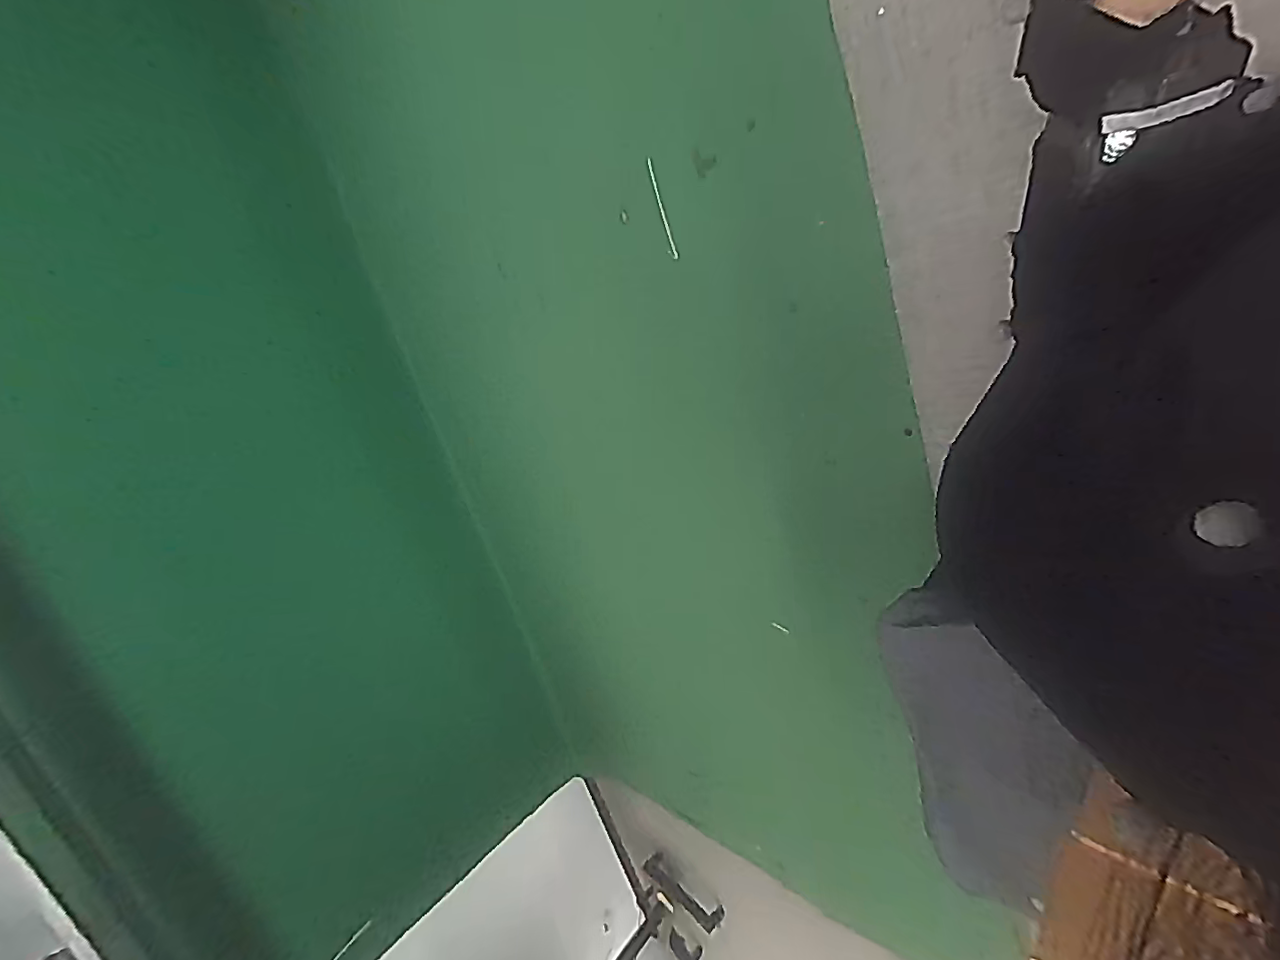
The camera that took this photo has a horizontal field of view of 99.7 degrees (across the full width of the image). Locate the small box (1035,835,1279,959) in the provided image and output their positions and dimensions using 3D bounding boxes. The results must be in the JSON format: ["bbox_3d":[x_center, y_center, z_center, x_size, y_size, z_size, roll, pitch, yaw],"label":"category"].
[{"bbox_3d":[0.554,0.546,0.591,0.179,0.176,0.168,11,120,46],"label":"small box"}]
